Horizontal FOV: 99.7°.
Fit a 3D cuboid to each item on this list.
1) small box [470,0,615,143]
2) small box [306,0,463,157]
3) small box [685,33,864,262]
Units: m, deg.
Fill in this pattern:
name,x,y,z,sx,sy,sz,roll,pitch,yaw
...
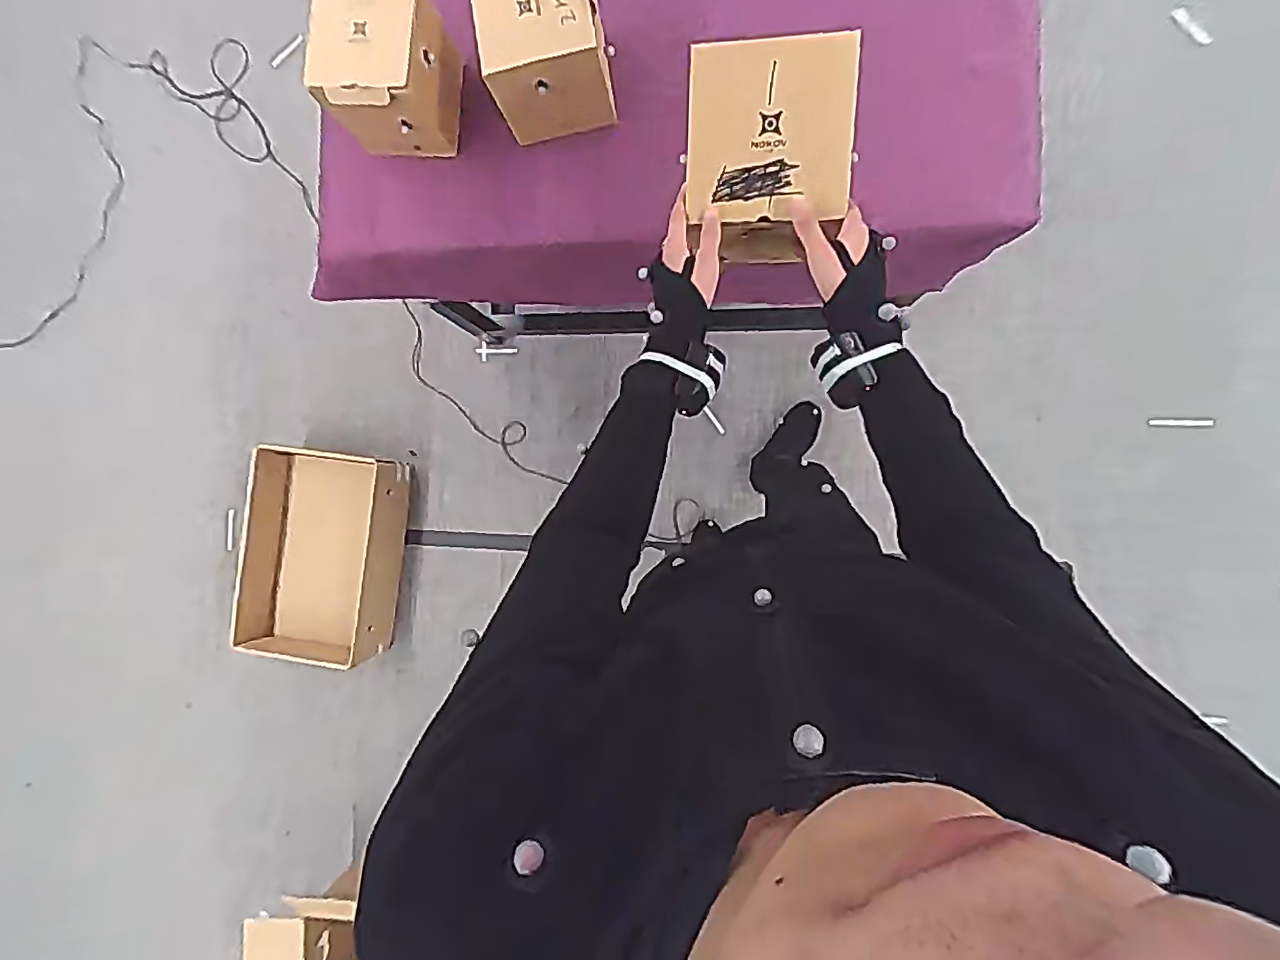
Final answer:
name,x,y,z,sx,sy,sz,roll,pitch,yaw
small box,-0.148,-0.672,0.855,0.179,0.176,0.168,-9,89,6
small box,-0.407,-0.661,0.886,0.168,0.176,0.179,5,89,6
small box,0.144,-0.356,0.618,0.168,0.176,0.179,3,98,9
